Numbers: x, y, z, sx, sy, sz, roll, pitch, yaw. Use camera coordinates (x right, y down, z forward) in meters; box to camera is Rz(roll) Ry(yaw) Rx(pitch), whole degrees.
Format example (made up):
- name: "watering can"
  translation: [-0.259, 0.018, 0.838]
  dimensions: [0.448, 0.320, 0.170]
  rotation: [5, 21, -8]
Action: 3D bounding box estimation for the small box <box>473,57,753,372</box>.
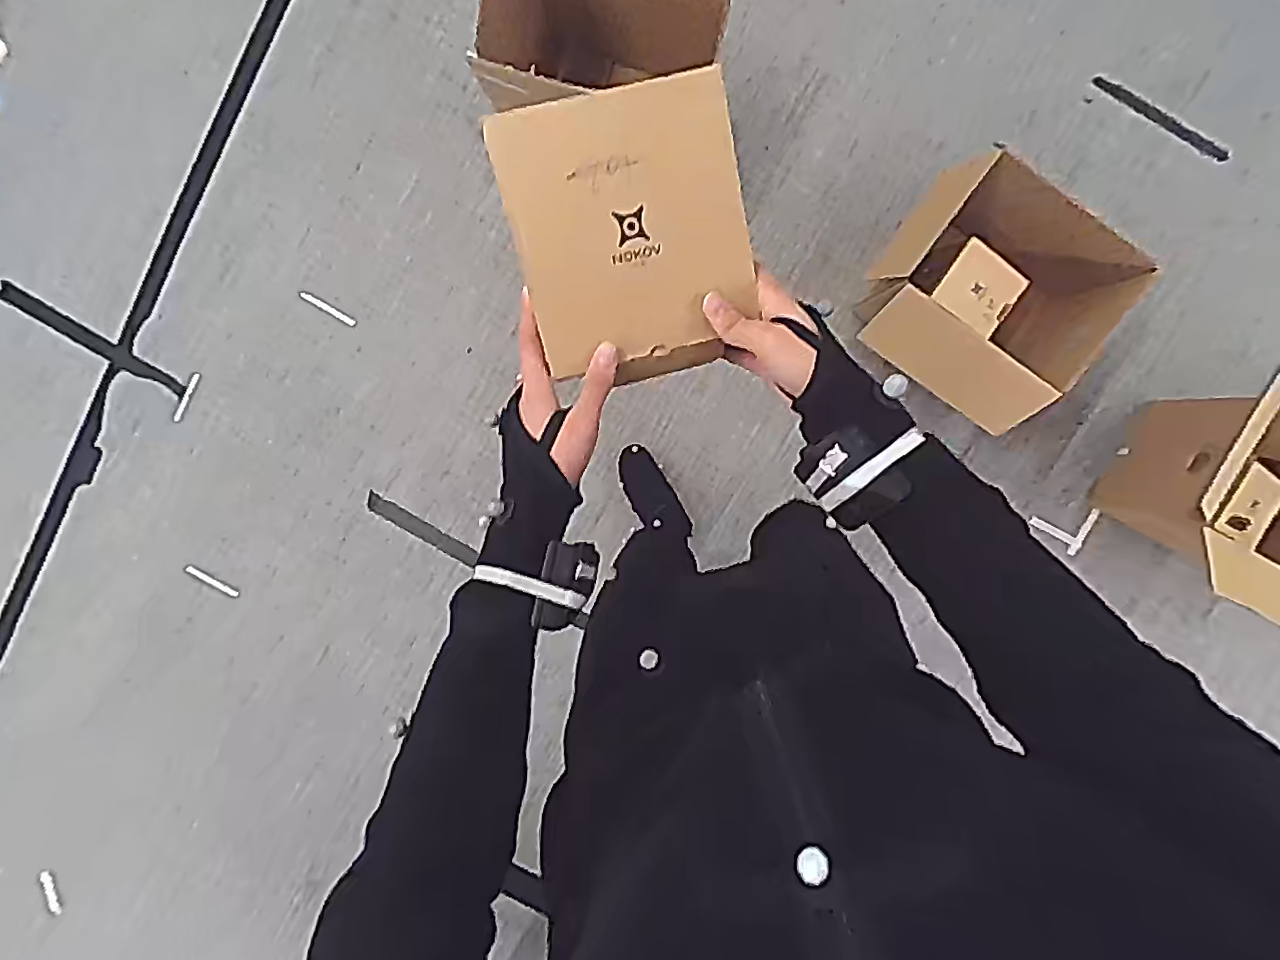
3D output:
- name: "small box"
  translation: [-0.021, -0.199, 0.450]
  dimensions: [0.168, 0.176, 0.179]
  rotation: [-15, 106, -4]
